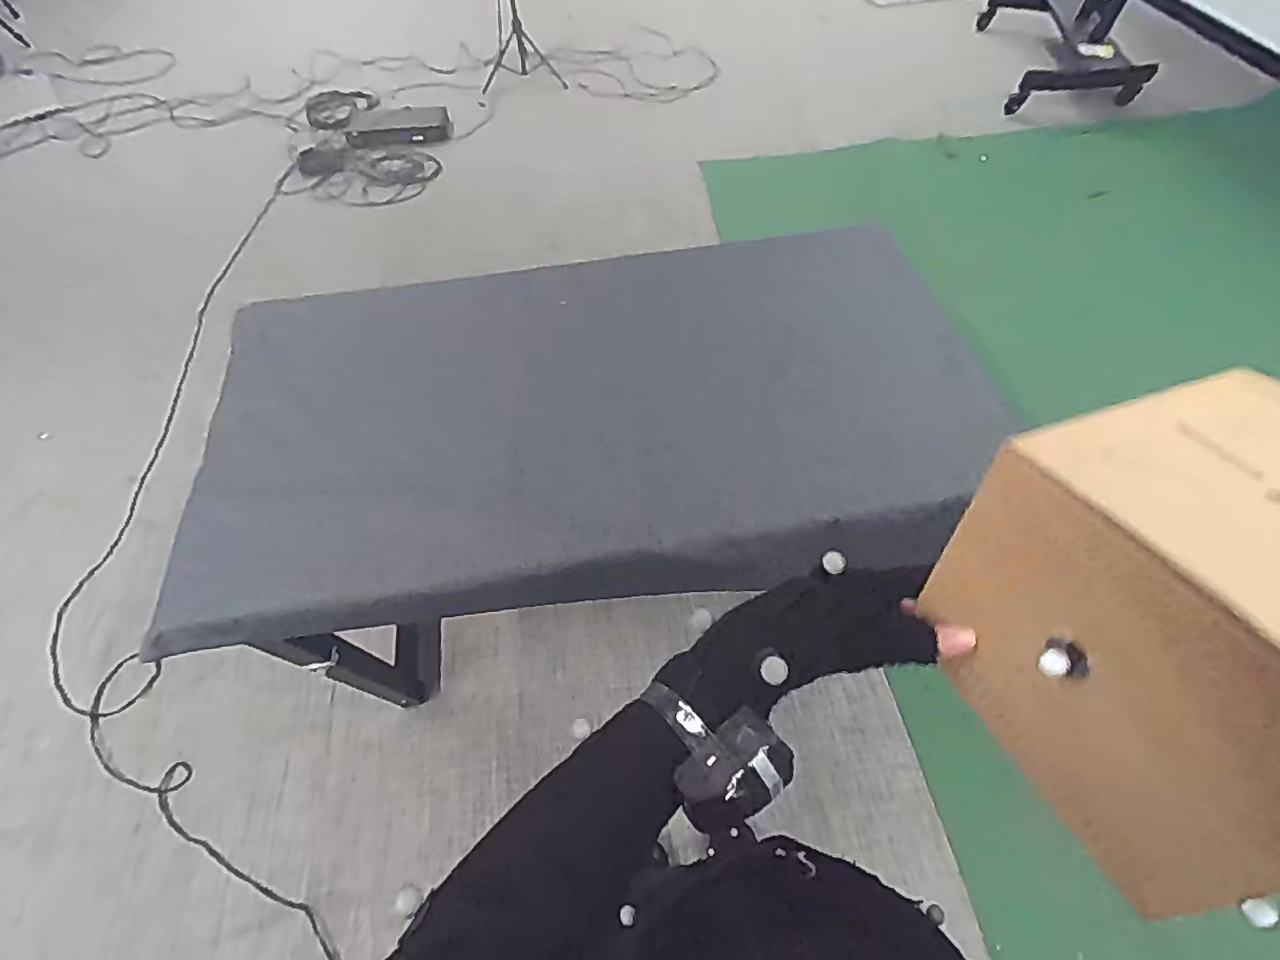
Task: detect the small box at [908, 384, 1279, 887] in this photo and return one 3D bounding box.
[{"bbox_3d":[0.282,0.080,0.284,0.168,0.176,0.179,-15,44,-12],"label":"small box"}]
